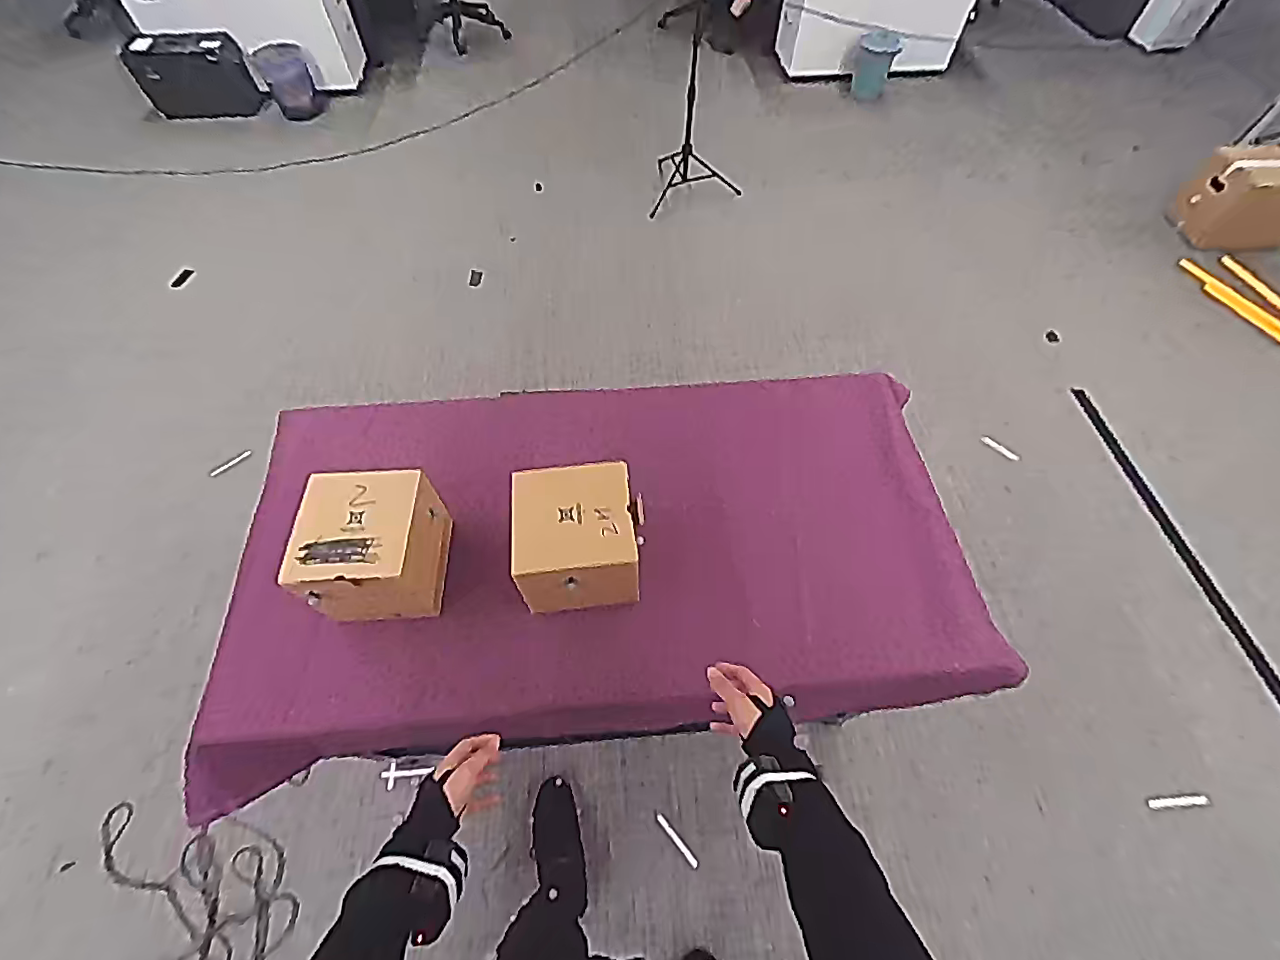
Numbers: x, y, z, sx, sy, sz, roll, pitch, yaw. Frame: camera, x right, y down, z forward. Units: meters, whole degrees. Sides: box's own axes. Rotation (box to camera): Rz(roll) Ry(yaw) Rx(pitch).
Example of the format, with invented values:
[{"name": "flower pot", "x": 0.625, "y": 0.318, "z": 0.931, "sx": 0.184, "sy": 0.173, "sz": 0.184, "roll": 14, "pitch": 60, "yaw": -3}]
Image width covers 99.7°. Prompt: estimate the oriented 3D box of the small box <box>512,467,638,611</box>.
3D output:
[{"name": "small box", "x": -0.096, "y": 0.098, "z": 0.848, "sx": 0.179, "sy": 0.176, "sz": 0.168, "roll": -5, "pitch": 59, "yaw": -4}]
